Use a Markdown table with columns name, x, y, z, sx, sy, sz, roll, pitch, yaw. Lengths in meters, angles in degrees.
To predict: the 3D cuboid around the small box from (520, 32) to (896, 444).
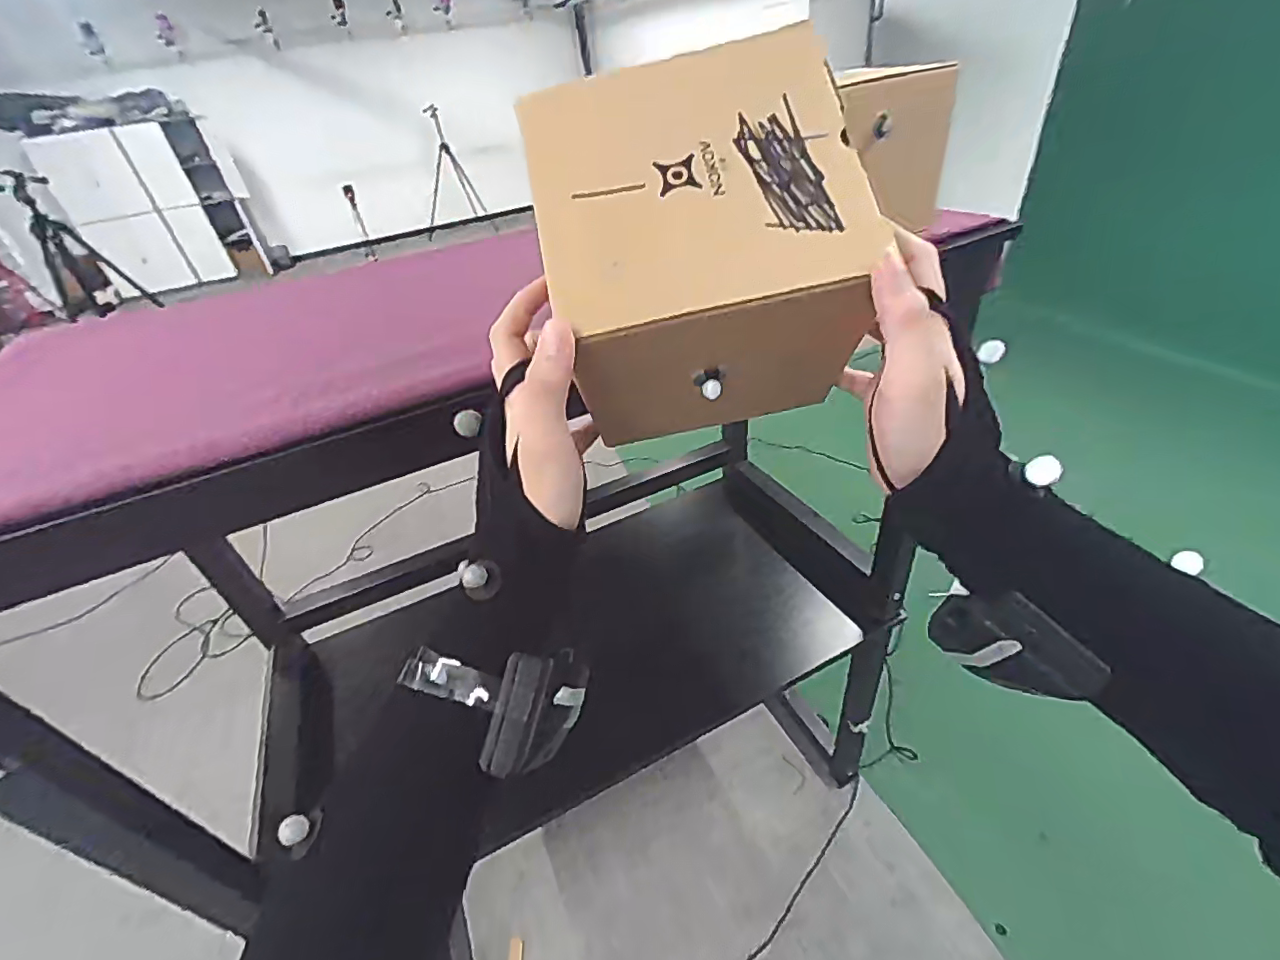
| name | x | y | z | sx | sy | sz | roll | pitch | yaw |
| --- | --- | --- | --- | --- | --- | --- | --- | --- | --- |
| small box | 0.036 | -0.138 | 0.365 | 0.179 | 0.176 | 0.168 | -12 | 74 | 4 |

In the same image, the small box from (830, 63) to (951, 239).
| name | x | y | z | sx | sy | sz | roll | pitch | yaw |
| --- | --- | --- | --- | --- | --- | --- | --- | --- | --- |
| small box | 0.238 | -0.390 | 0.666 | 0.179 | 0.176 | 0.168 | -19 | 39 | -11 |
